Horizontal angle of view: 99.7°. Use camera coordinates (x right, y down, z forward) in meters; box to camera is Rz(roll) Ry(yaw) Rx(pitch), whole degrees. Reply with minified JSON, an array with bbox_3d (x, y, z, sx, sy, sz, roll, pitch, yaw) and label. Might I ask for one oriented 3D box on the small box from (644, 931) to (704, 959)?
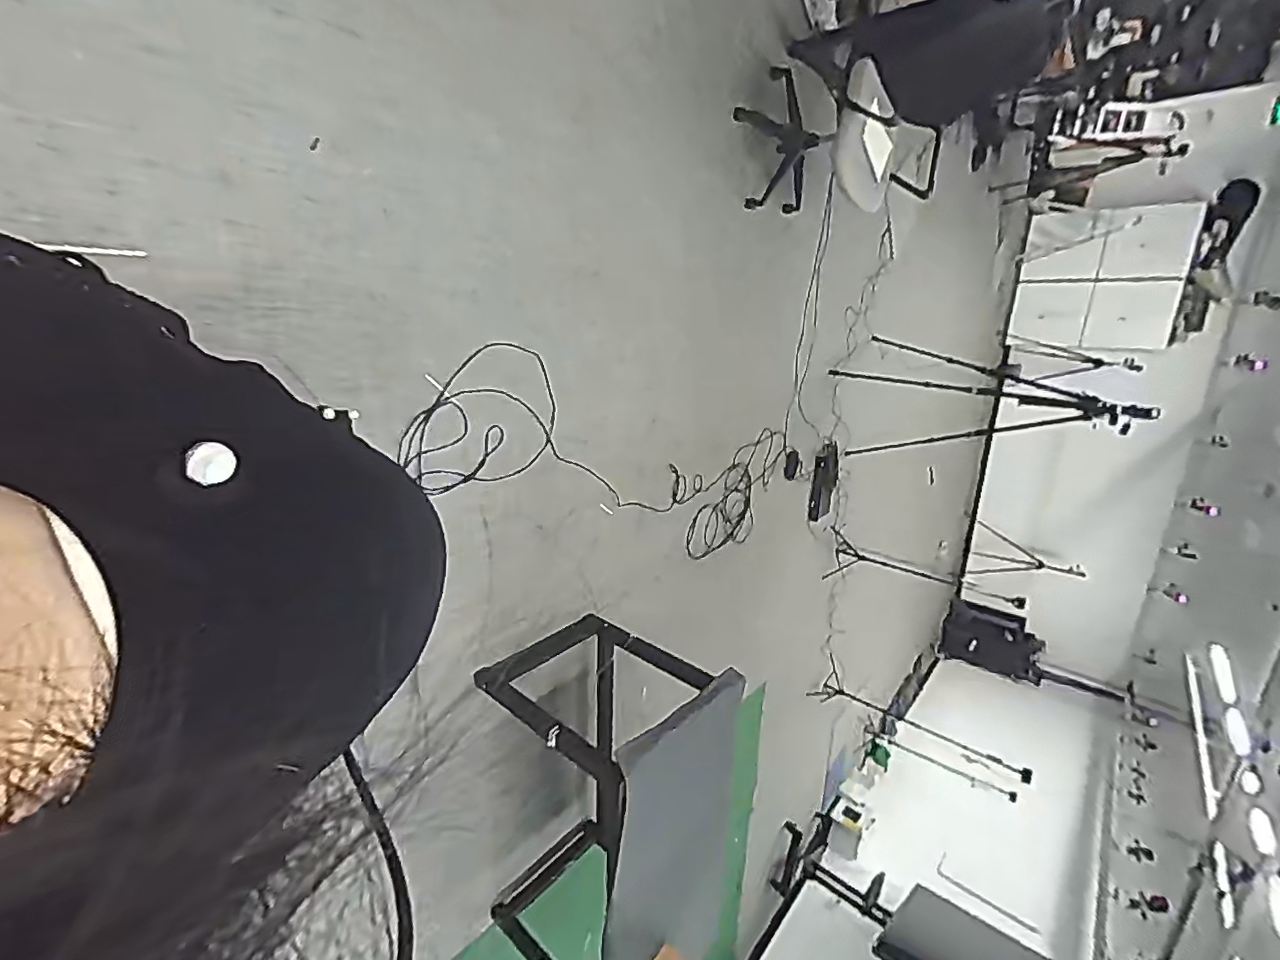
[{"bbox_3d":[0.099,1.662,1.781,0.179,0.176,0.168,-18,114,-49],"label":"small box"}]
